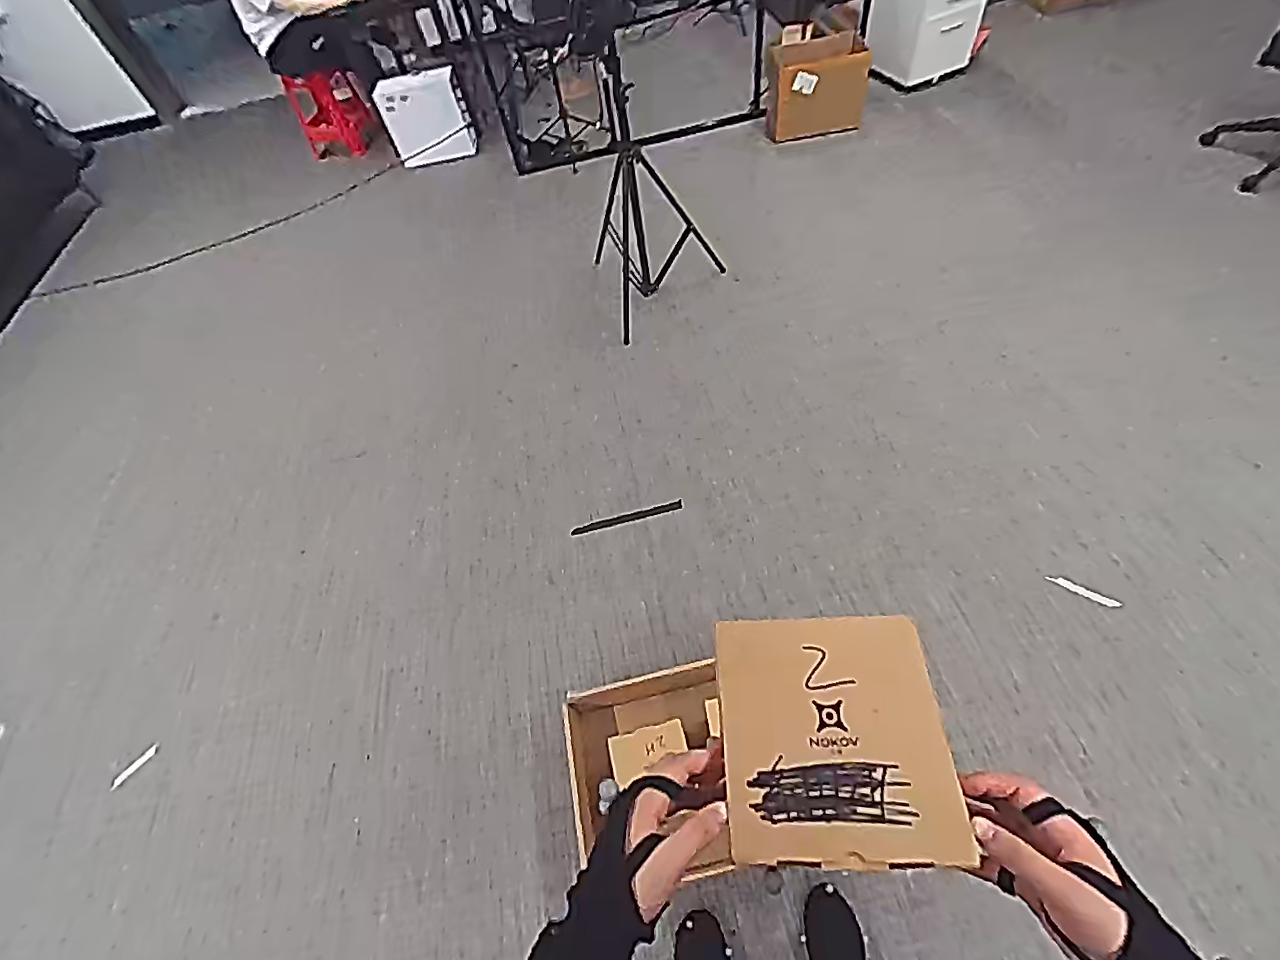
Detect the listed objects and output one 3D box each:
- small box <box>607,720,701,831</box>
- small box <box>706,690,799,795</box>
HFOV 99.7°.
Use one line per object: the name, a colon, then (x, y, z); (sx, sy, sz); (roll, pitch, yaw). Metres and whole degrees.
small box: (0.035, 0.653, 1.190); (0.168, 0.176, 0.179); (-14, 55, -3)
small box: (0.242, 0.587, 1.204); (0.168, 0.176, 0.179); (-10, 55, 3)
